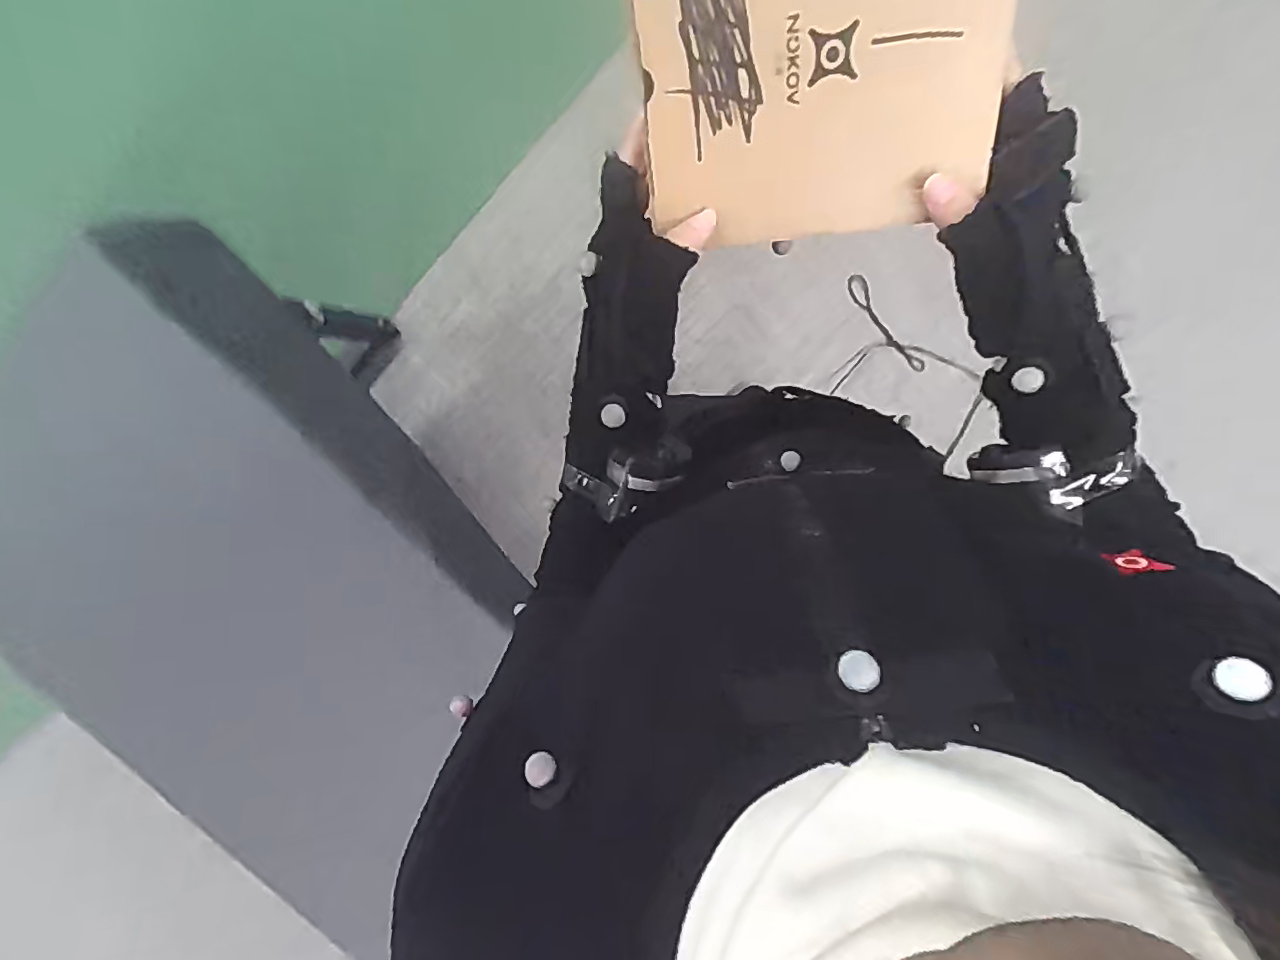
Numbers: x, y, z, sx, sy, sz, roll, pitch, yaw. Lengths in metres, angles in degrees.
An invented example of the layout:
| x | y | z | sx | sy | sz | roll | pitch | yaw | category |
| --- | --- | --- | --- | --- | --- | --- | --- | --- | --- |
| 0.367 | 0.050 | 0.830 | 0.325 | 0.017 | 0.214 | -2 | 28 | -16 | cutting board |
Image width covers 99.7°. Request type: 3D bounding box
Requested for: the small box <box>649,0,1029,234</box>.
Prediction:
| x | y | z | sx | sy | sz | roll | pitch | yaw | category |
| --- | --- | --- | --- | --- | --- | --- | --- | --- | --- |
| 0.105 | -0.254 | 0.332 | 0.179 | 0.176 | 0.168 | -1 | 120 | 10 | small box |
